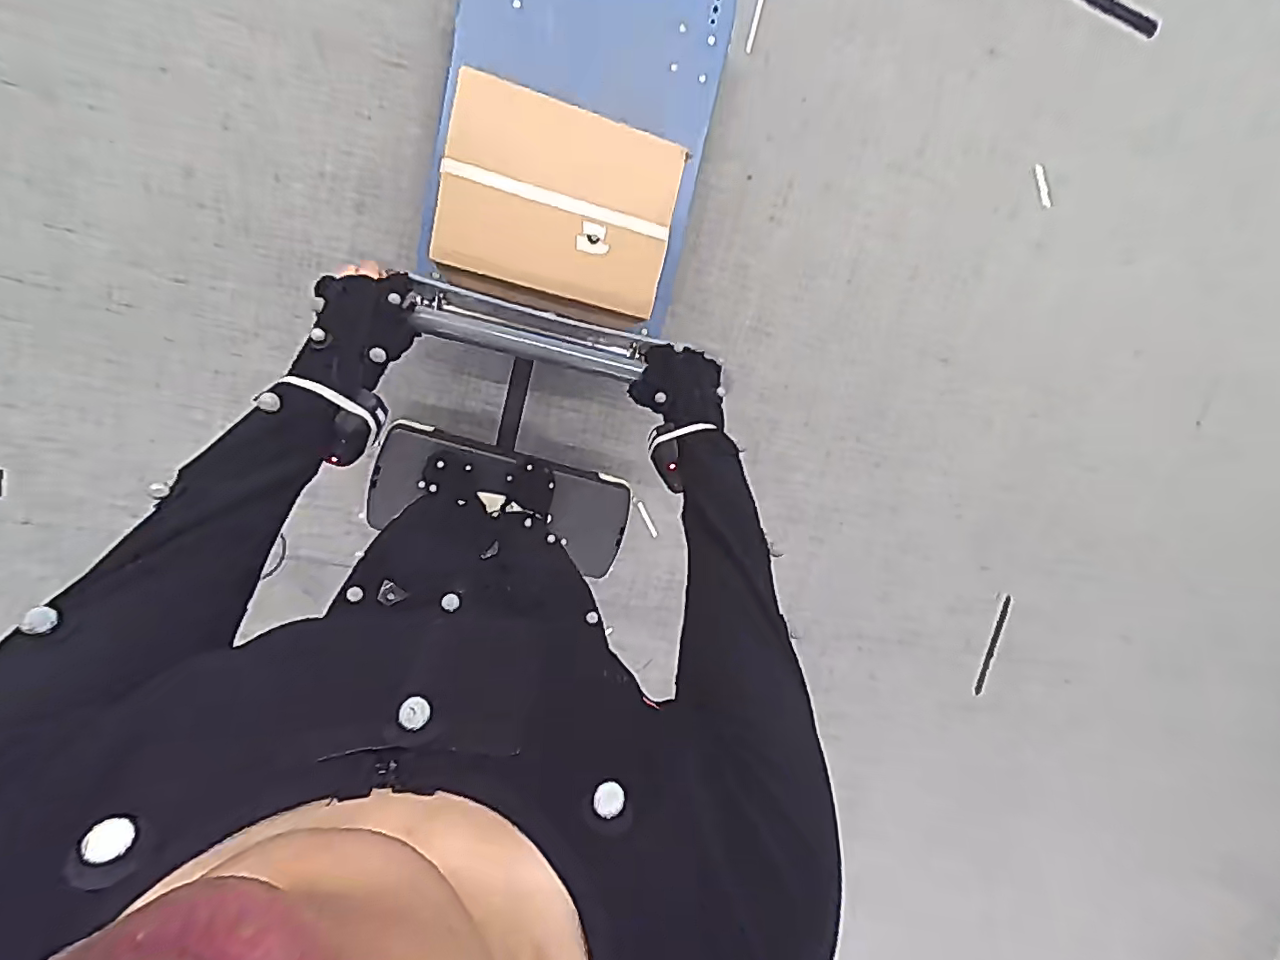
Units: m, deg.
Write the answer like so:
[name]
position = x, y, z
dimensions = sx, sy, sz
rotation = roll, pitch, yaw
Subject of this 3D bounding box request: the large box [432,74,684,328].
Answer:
[large box]
position = -0.174, -0.515, 1.095
dimensions = 0.408, 0.320, 0.320
rotation = 11, 100, -15
